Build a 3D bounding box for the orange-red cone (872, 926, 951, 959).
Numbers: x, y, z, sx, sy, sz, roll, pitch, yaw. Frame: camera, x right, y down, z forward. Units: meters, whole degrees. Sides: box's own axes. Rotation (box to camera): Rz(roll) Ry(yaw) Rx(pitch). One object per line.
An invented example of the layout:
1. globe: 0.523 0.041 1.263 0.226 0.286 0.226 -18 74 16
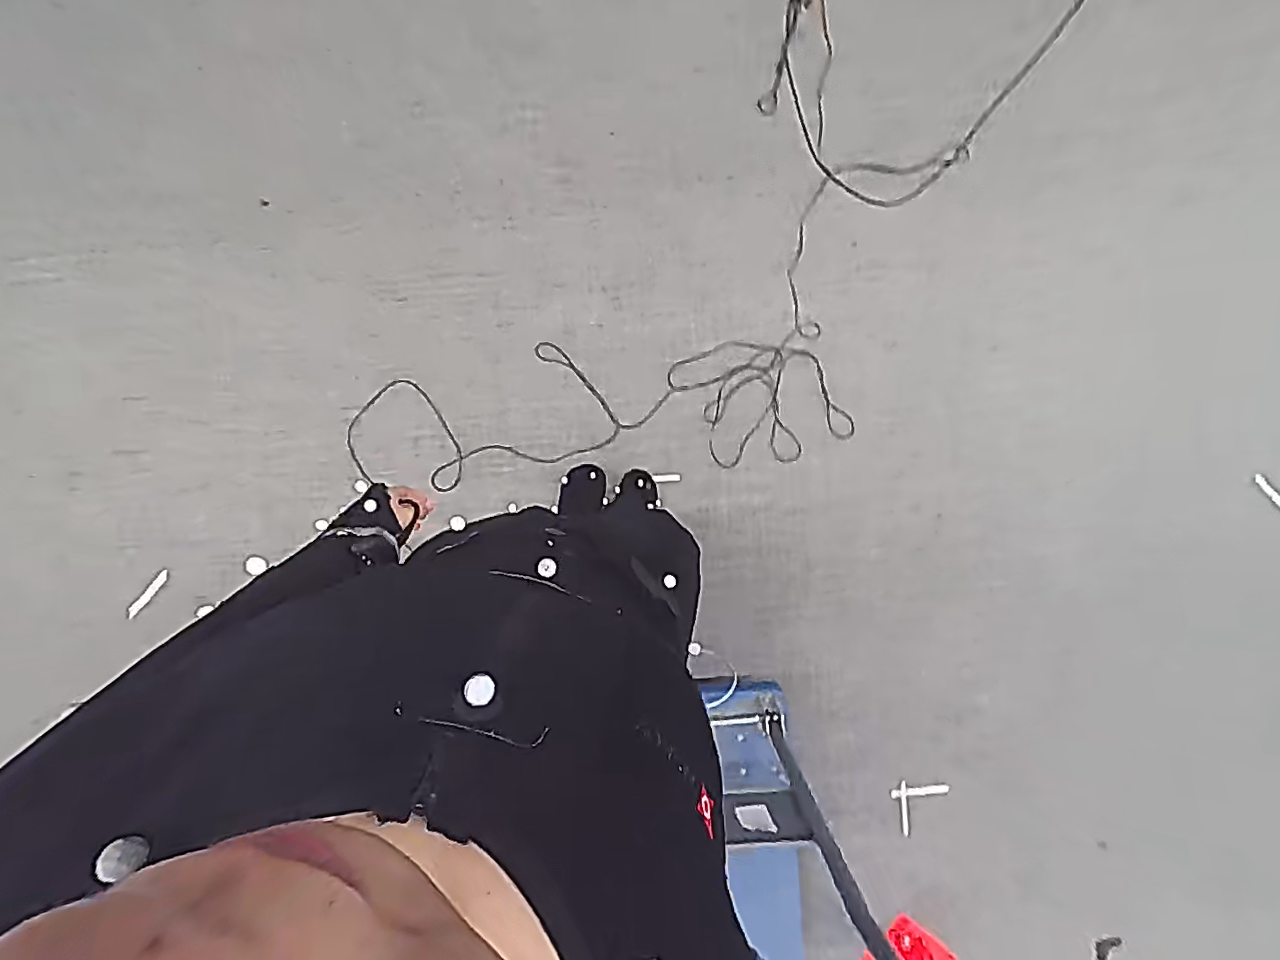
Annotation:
1. orange-red cone: 0.698 1.280 1.225 0.198 0.360 0.199 41 92 0
